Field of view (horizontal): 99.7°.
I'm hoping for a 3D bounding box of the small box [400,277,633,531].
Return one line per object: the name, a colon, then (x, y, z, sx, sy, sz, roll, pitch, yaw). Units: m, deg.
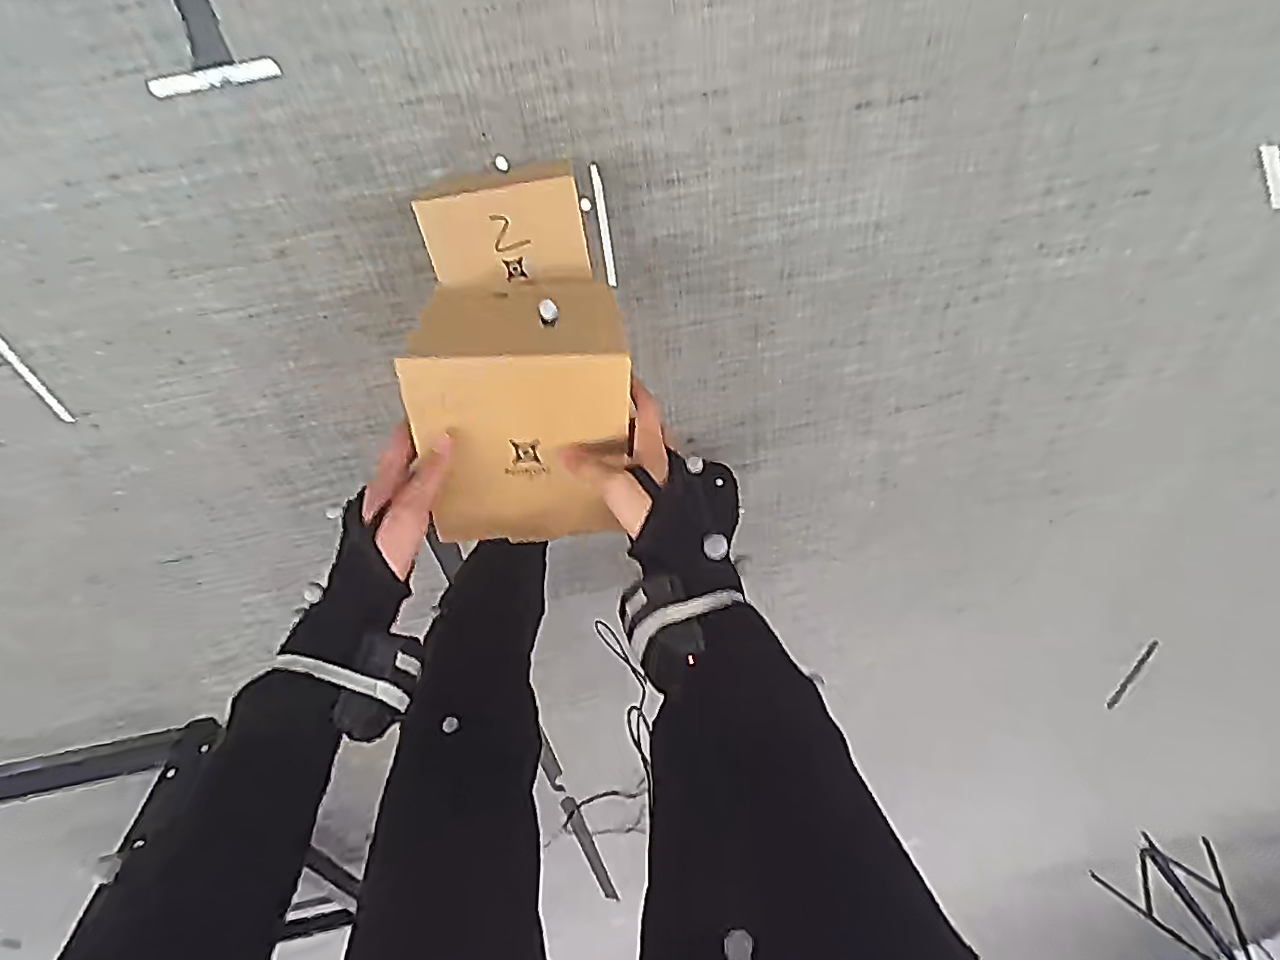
small box: (-0.099, -0.073, 0.494, 0.168, 0.176, 0.179, 0, 128, -6)
